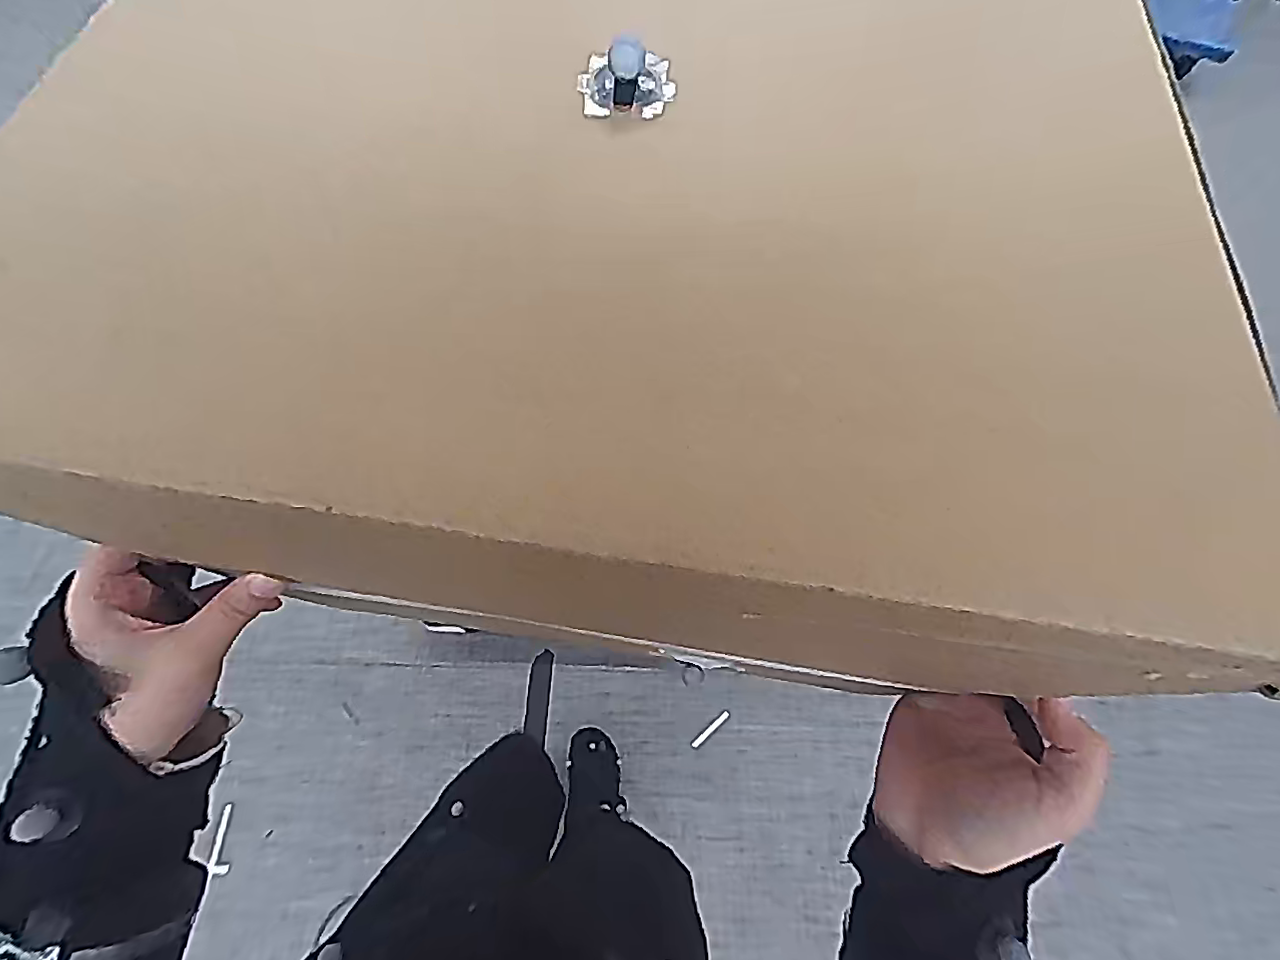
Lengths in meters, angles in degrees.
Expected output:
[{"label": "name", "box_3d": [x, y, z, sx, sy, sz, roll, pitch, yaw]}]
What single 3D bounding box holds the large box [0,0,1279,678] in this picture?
[{"label": "large box", "box_3d": [-0.024, -0.076, 0.327, 0.408, 0.320, 0.320, 7, 69, 2]}]
